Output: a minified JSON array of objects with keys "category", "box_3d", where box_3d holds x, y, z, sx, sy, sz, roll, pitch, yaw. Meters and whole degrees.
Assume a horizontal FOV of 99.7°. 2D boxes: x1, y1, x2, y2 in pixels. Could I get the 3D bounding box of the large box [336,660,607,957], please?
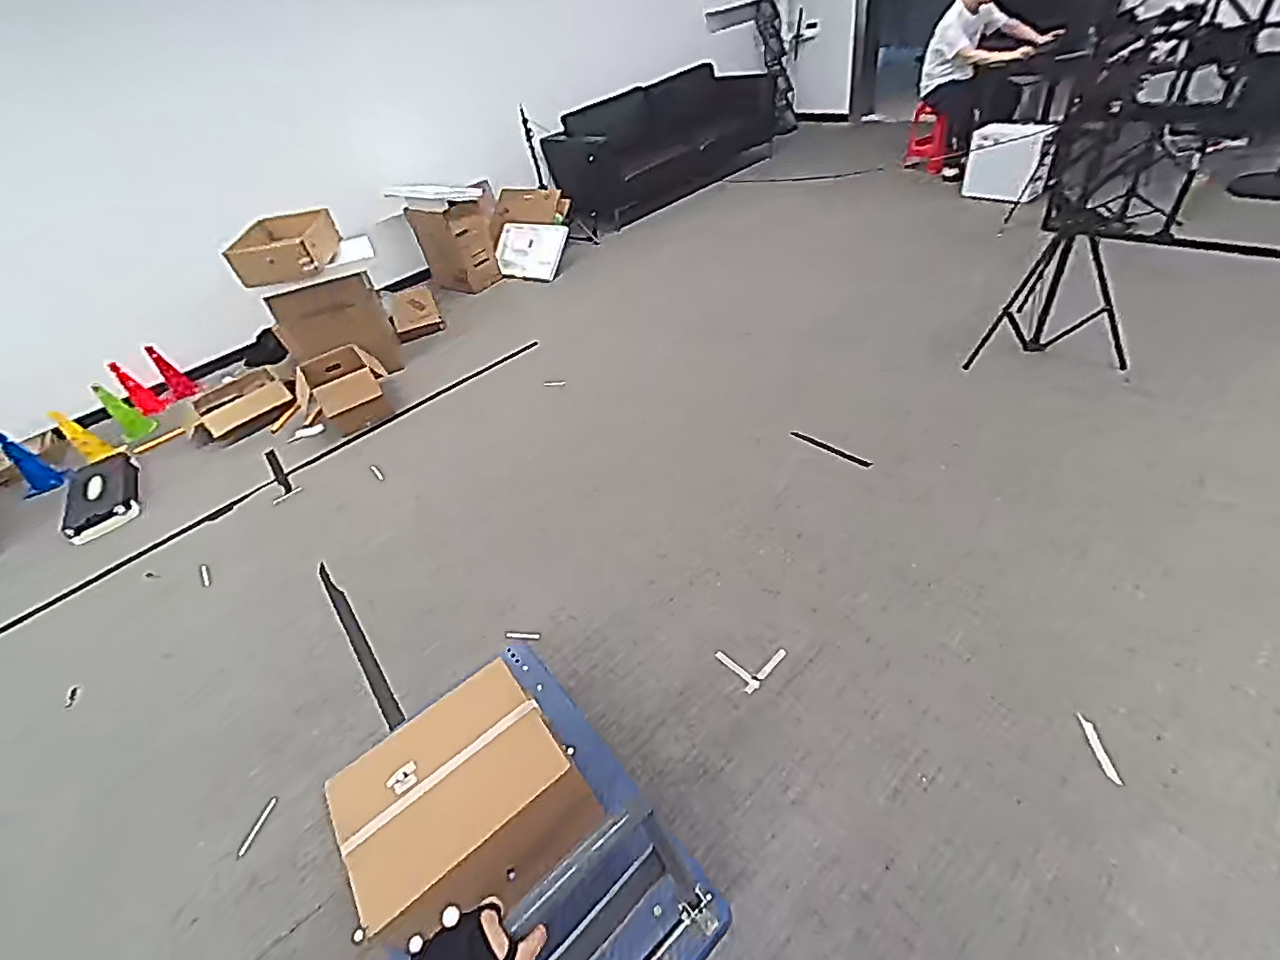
[{"category":"large box","box_3d":[-0.340,0.684,1.155,0.408,0.320,0.320,-34,44,-20]}]
